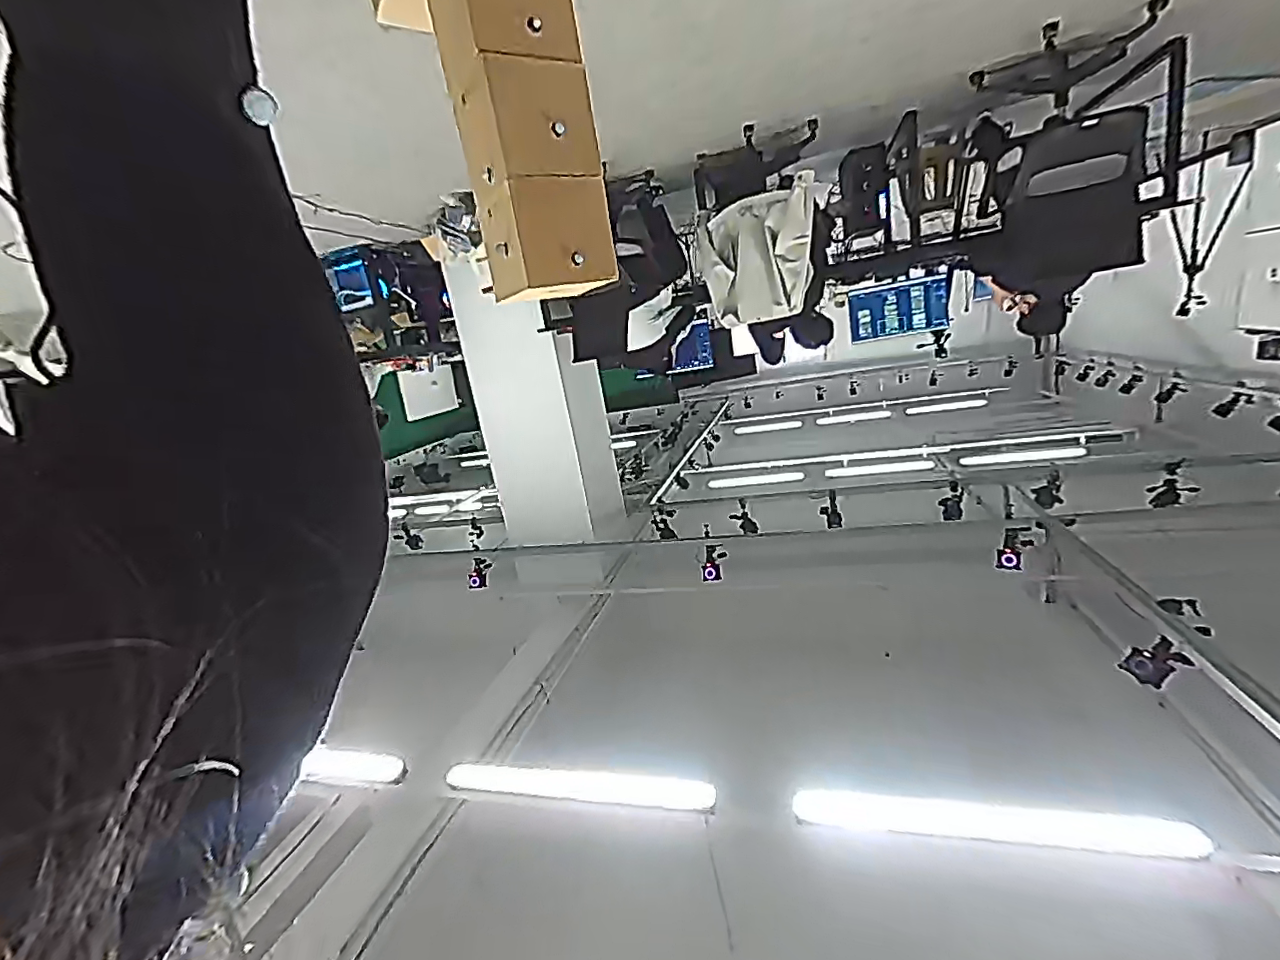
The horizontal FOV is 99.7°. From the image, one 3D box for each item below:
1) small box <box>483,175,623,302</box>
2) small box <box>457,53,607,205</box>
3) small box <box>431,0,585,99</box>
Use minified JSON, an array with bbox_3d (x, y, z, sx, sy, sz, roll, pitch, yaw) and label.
[{"bbox_3d":[-0.157,-0.421,0.948,0.179,0.176,0.168,-19,-163,-29],"label":"small box"},{"bbox_3d":[-0.182,-0.576,0.904,0.179,0.176,0.168,-20,-163,-29],"label":"small box"},{"bbox_3d":[-0.214,-0.731,0.860,0.179,0.176,0.168,-18,-163,-30],"label":"small box"}]
